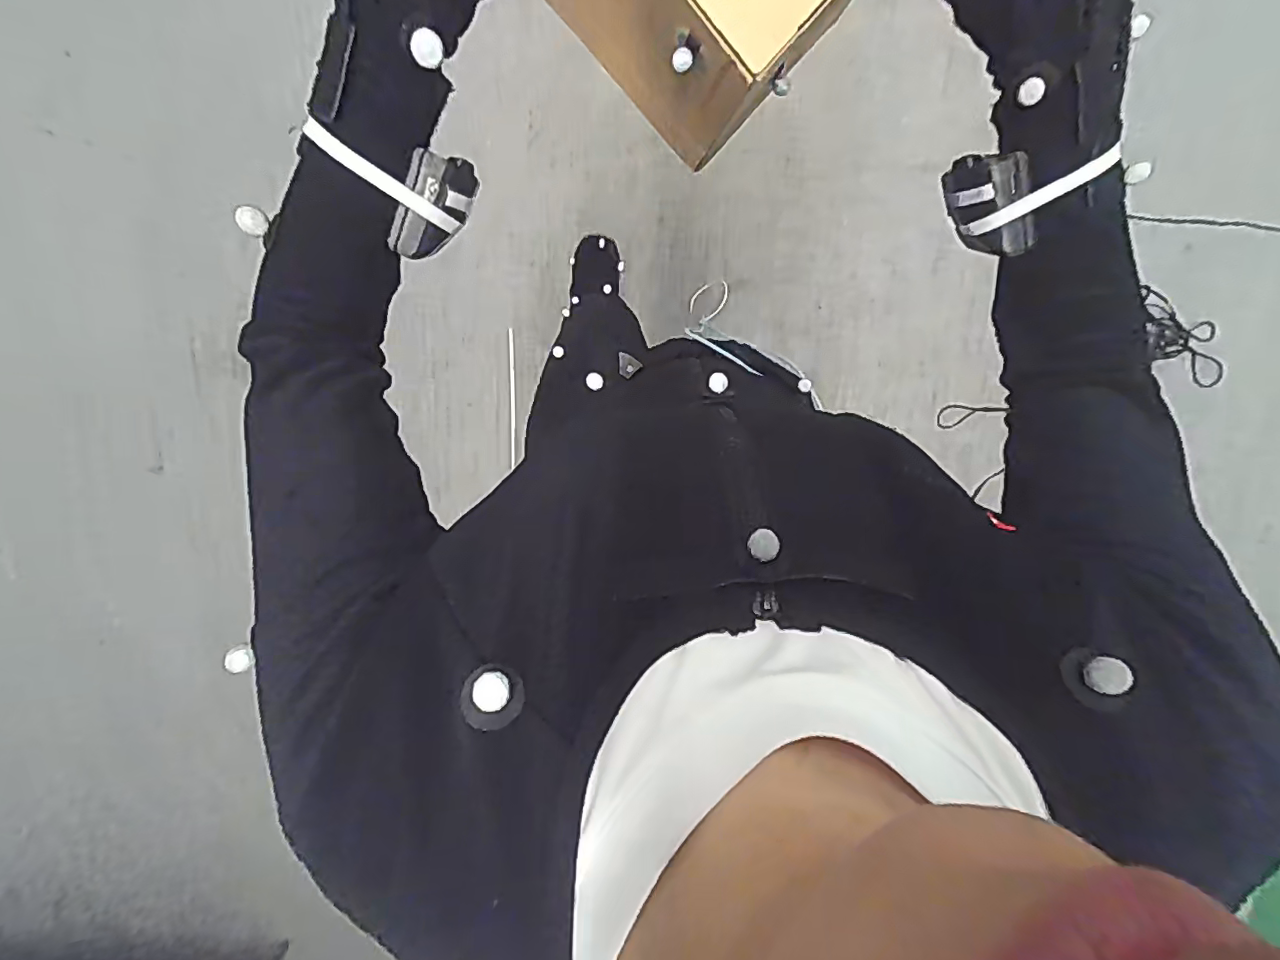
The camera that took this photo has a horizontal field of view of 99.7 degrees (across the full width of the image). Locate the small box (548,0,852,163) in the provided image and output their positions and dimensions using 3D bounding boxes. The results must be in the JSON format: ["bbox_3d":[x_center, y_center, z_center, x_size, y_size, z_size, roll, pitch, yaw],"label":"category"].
[{"bbox_3d":[0.047,-0.352,0.350,0.168,0.176,0.179,-45,106,4],"label":"small box"}]
